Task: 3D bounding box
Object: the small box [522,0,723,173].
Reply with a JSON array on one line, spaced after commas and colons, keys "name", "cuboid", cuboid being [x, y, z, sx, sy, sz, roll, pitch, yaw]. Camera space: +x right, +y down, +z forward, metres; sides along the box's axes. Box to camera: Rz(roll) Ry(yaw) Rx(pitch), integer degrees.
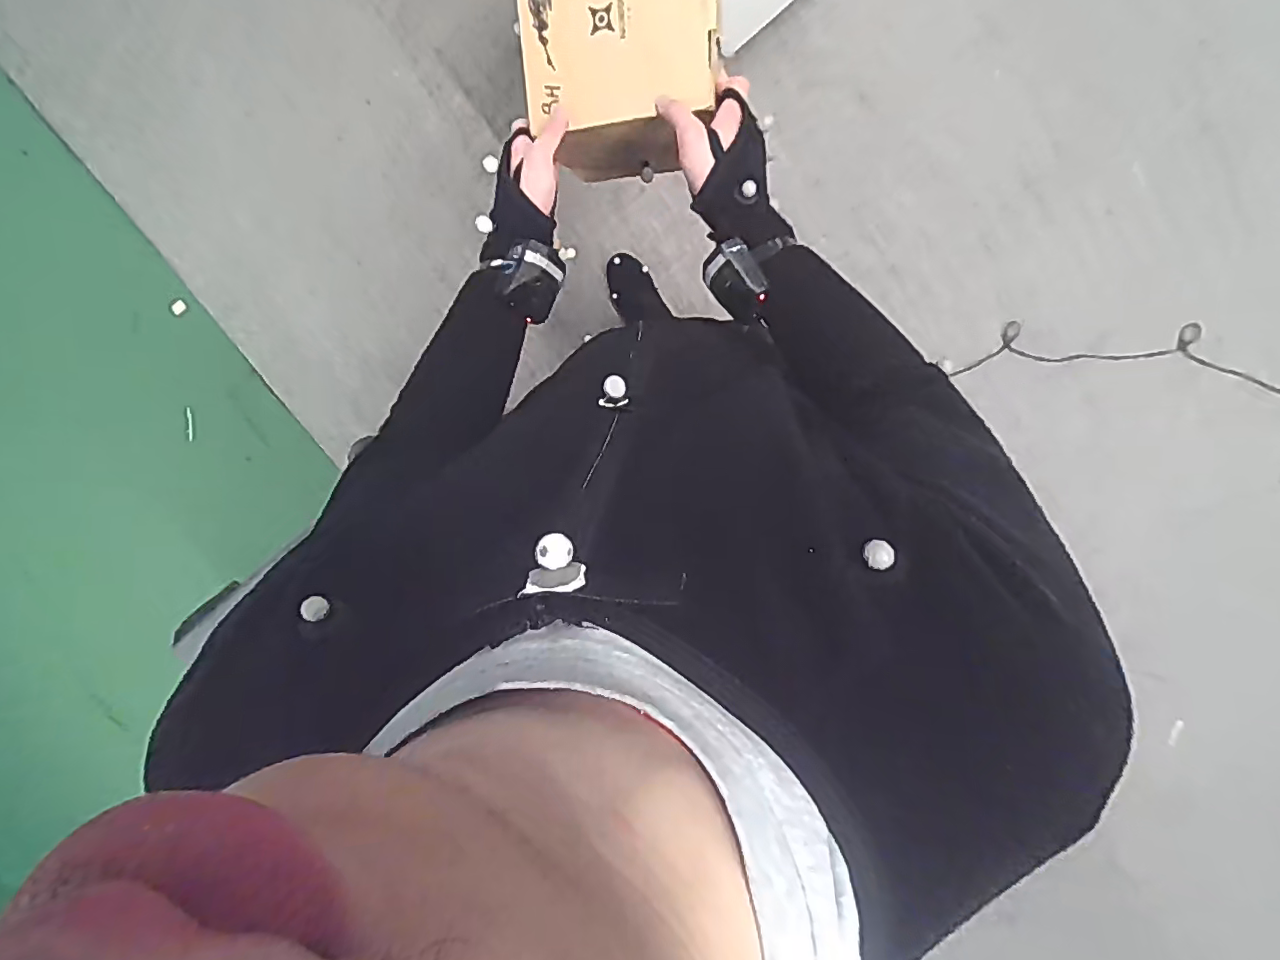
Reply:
[{"name": "small box", "cuboid": [-0.005, -0.426, 0.542, 0.179, 0.176, 0.168, 0, 105, 11]}]
